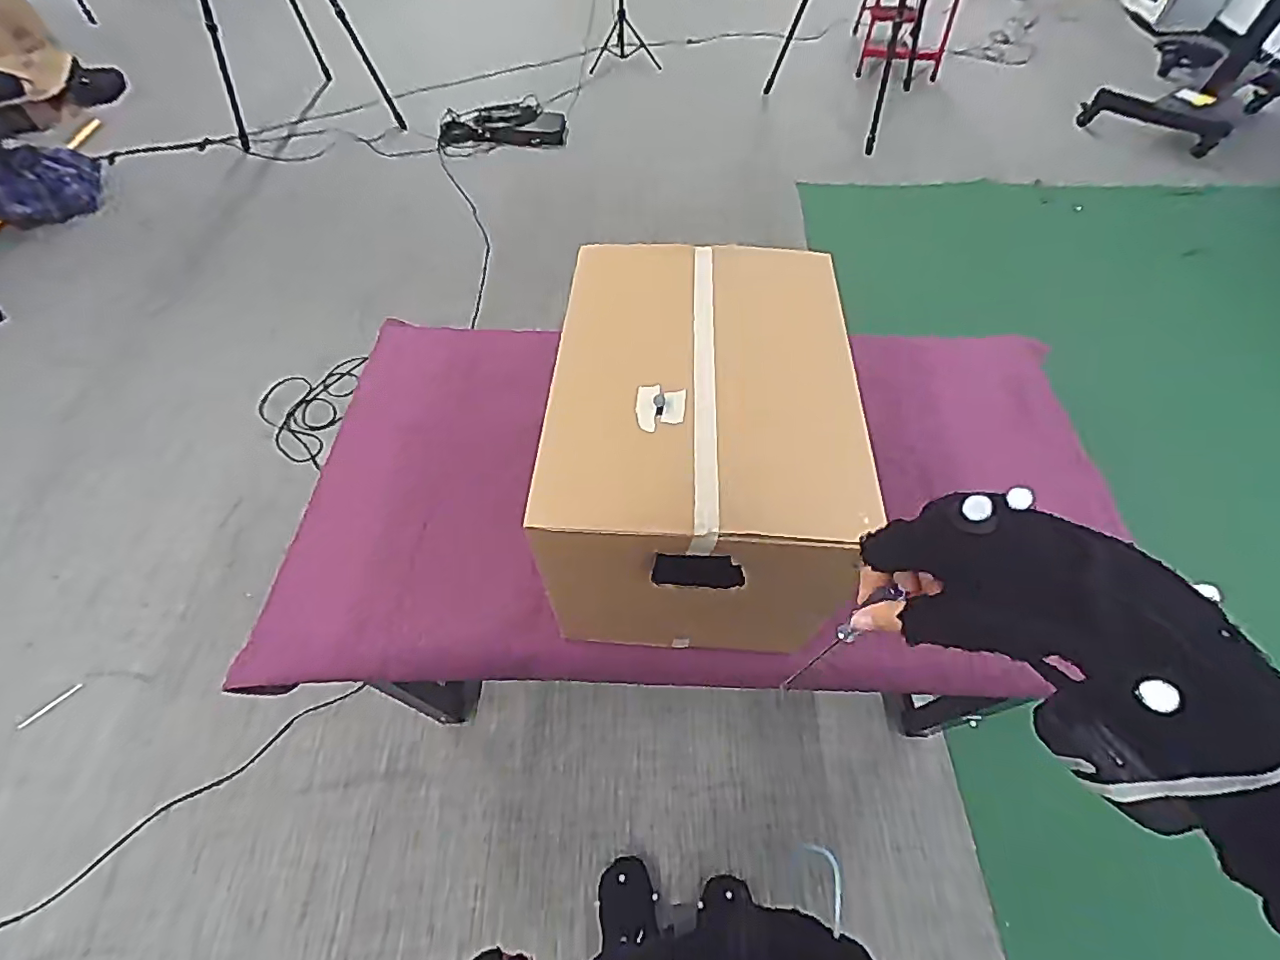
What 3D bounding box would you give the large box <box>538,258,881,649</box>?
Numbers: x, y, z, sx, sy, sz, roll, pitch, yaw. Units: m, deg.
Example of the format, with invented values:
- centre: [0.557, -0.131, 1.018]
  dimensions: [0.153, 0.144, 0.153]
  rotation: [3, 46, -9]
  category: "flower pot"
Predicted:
- centre: [0.067, -0.028, 0.708]
  dimensions: [0.320, 0.320, 0.408]
  rotation: [3, 57, 2]
  category: "large box"
